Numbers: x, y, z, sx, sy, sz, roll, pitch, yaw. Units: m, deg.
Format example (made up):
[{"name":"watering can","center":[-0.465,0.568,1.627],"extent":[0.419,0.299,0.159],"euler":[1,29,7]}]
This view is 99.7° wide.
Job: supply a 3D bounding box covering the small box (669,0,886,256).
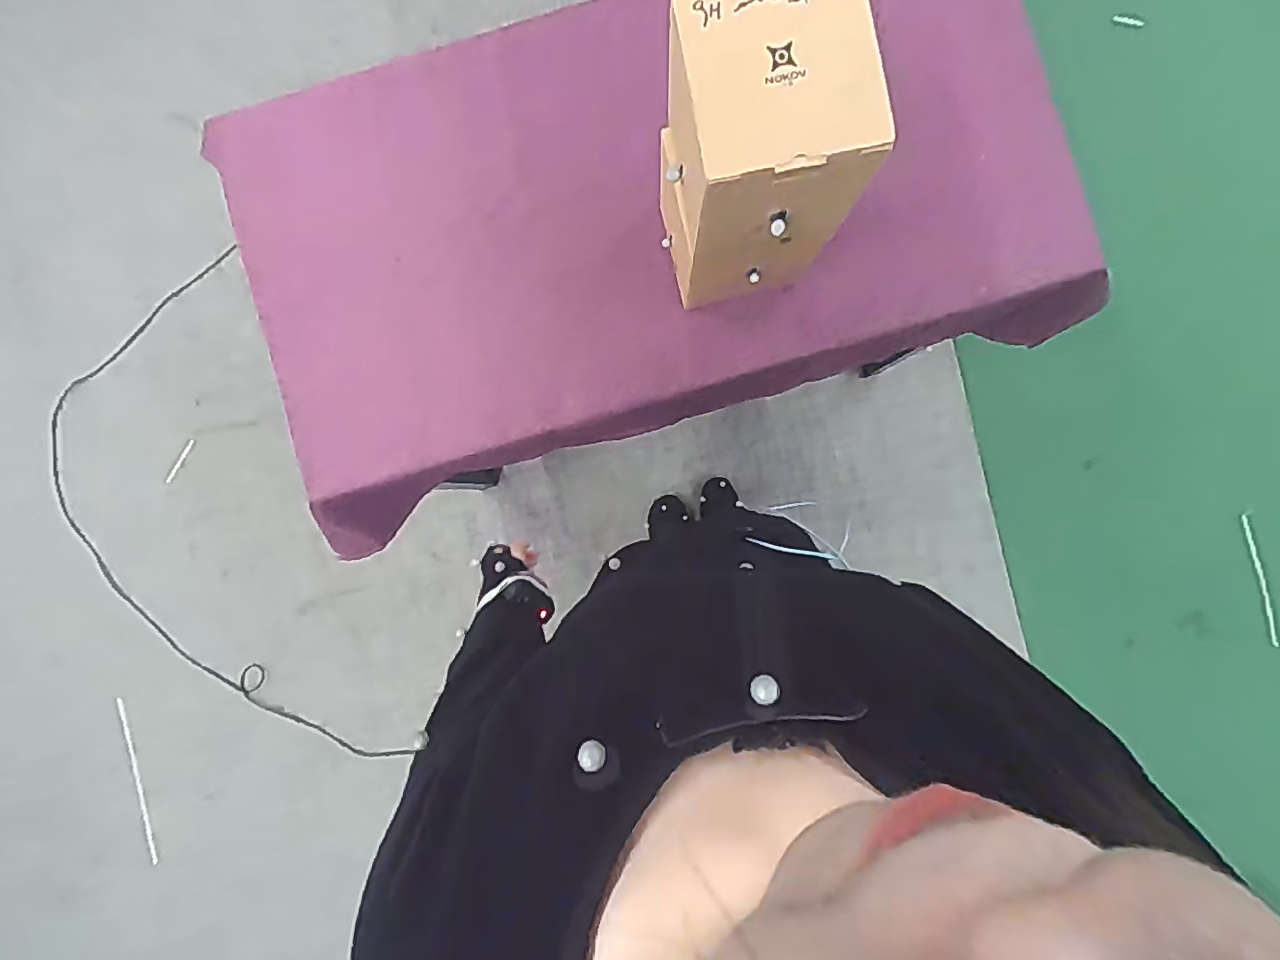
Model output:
[{"name":"small box","center":[0.123,-0.348,0.549],"extent":[0.168,0.176,0.179],"euler":[-10,89,1]}]
